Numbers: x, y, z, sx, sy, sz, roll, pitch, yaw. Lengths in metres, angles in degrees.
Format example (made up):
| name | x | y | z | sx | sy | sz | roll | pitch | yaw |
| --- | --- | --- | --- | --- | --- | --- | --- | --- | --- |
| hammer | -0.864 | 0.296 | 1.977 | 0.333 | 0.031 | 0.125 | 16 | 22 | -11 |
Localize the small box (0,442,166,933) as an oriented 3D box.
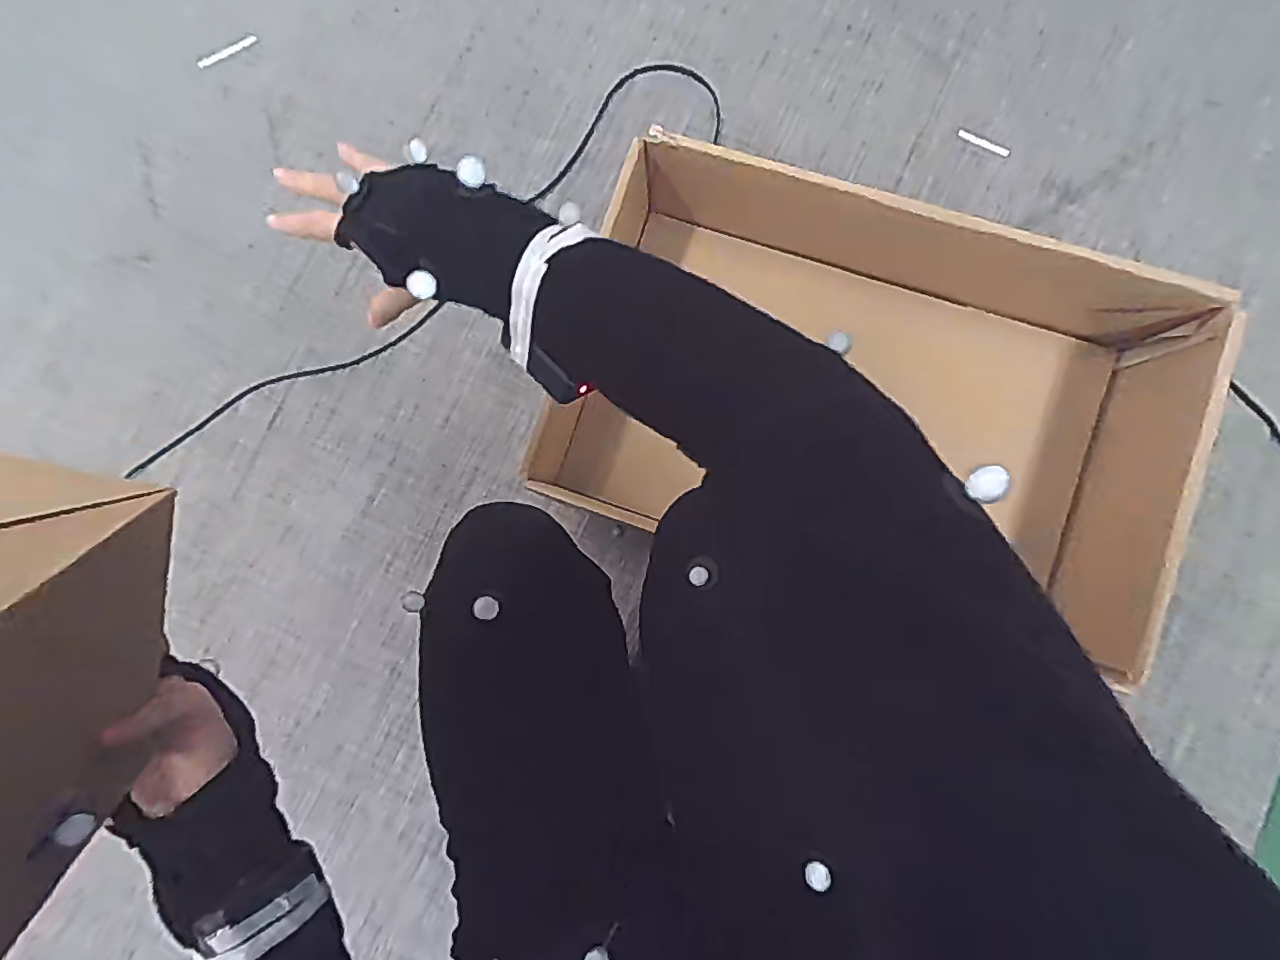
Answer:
| name | x | y | z | sx | sy | sz | roll | pitch | yaw |
| --- | --- | --- | --- | --- | --- | --- | --- | --- | --- |
| small box | -0.292 | 0.079 | 0.166 | 0.168 | 0.179 | 0.176 | 16 | 106 | -18 |
